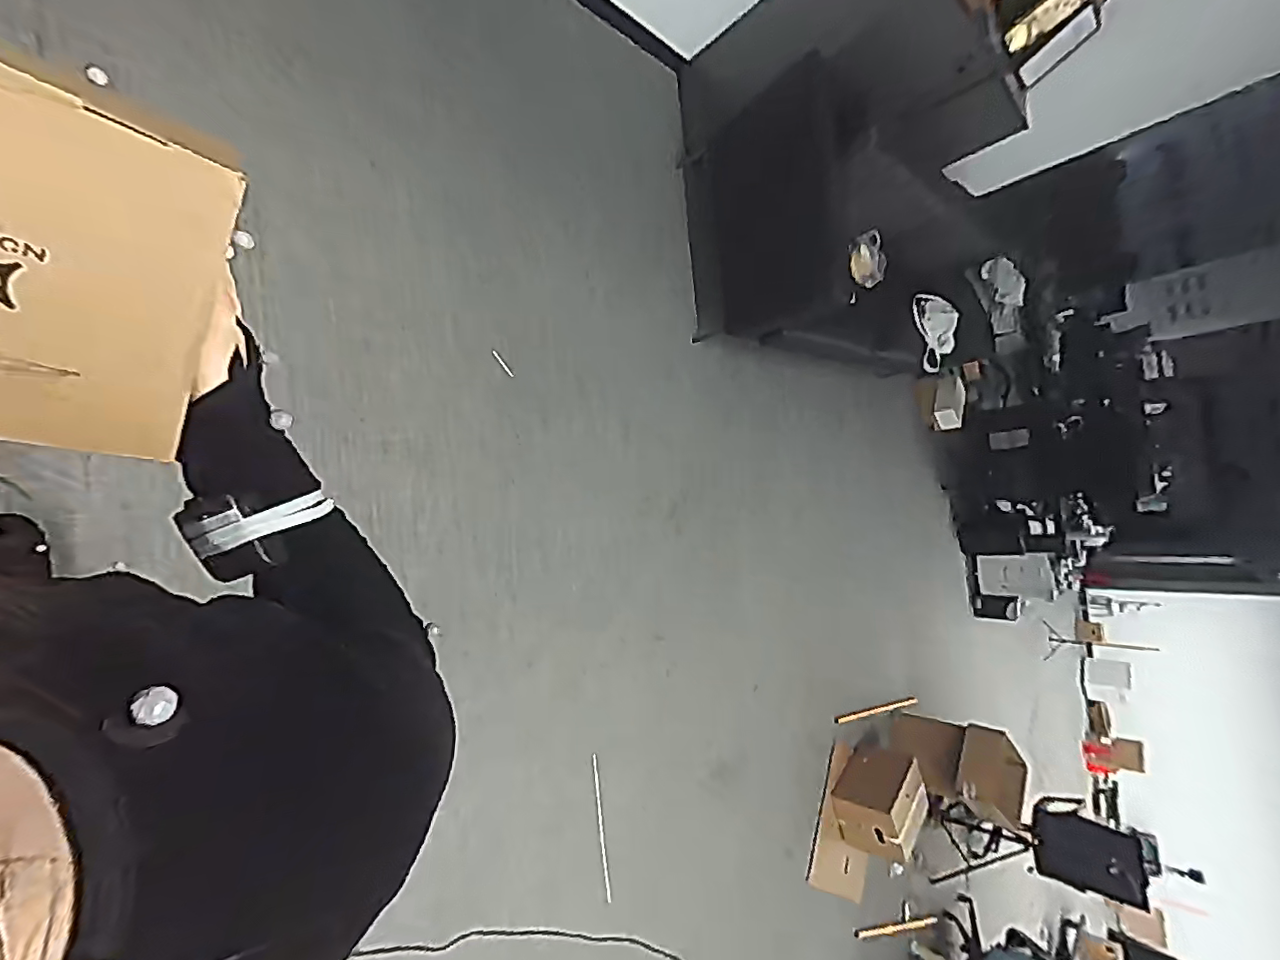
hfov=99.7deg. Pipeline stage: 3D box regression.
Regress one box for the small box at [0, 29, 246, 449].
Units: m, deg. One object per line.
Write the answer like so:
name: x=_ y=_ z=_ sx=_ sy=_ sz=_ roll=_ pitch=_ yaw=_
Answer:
small box: x=-0.342 y=-0.144 z=0.299 sx=0.168 sy=0.176 sz=0.179 roll=12 pitch=111 yaw=-43
